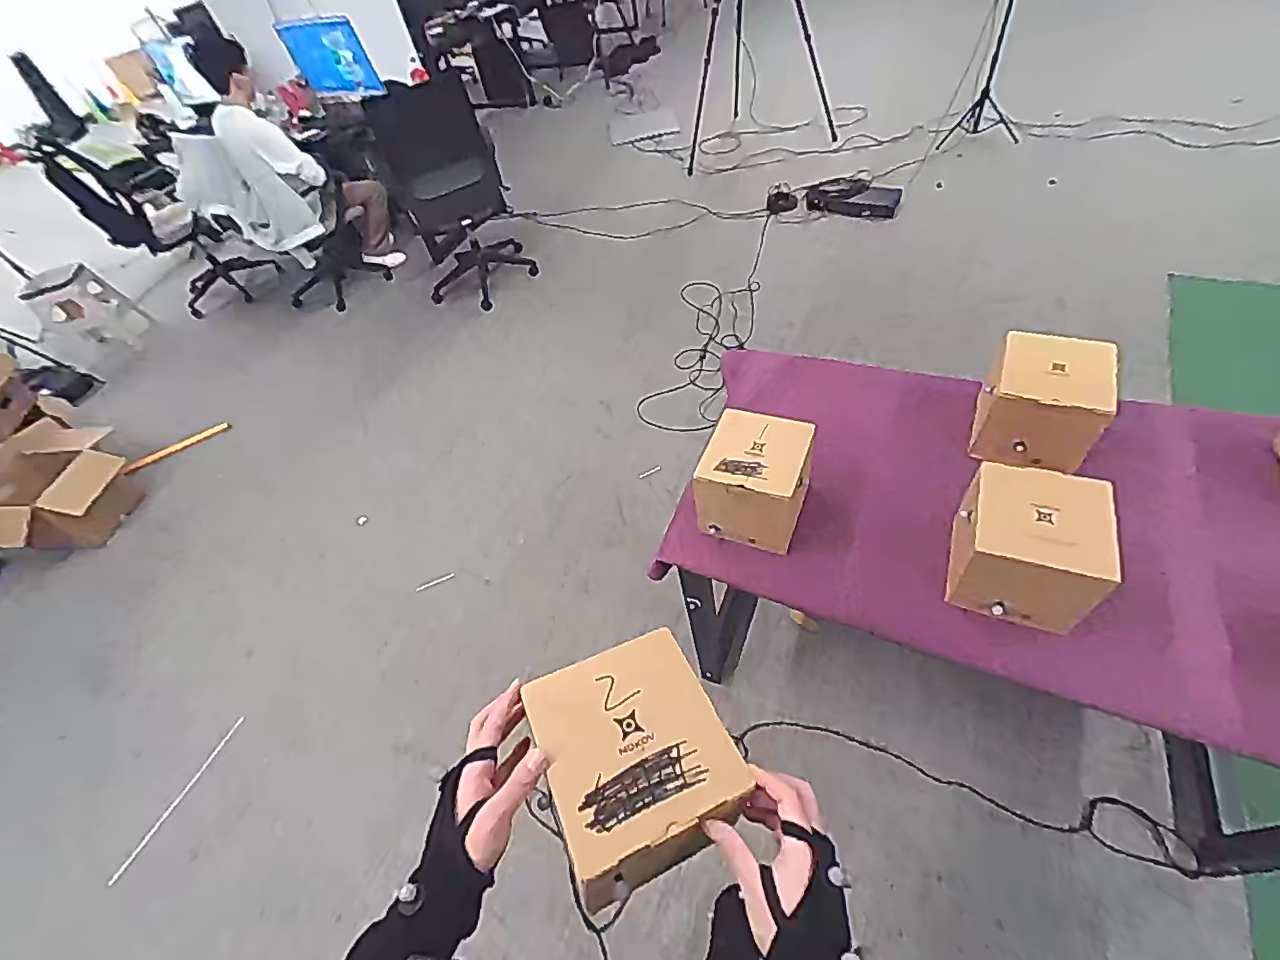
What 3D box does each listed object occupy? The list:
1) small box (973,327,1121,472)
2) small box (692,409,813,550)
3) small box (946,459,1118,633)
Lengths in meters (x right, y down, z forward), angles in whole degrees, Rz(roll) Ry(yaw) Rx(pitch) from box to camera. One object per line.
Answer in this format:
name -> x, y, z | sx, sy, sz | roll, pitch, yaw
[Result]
small box -> 0.724, -0.145, 0.974 | 0.168, 0.176, 0.179 | 16, 59, 24
small box -> 0.208, 0.002, 0.980 | 0.168, 0.176, 0.179 | 14, 55, 23
small box -> 0.578, 0.099, 0.815 | 0.168, 0.176, 0.179 | 13, 56, 24
